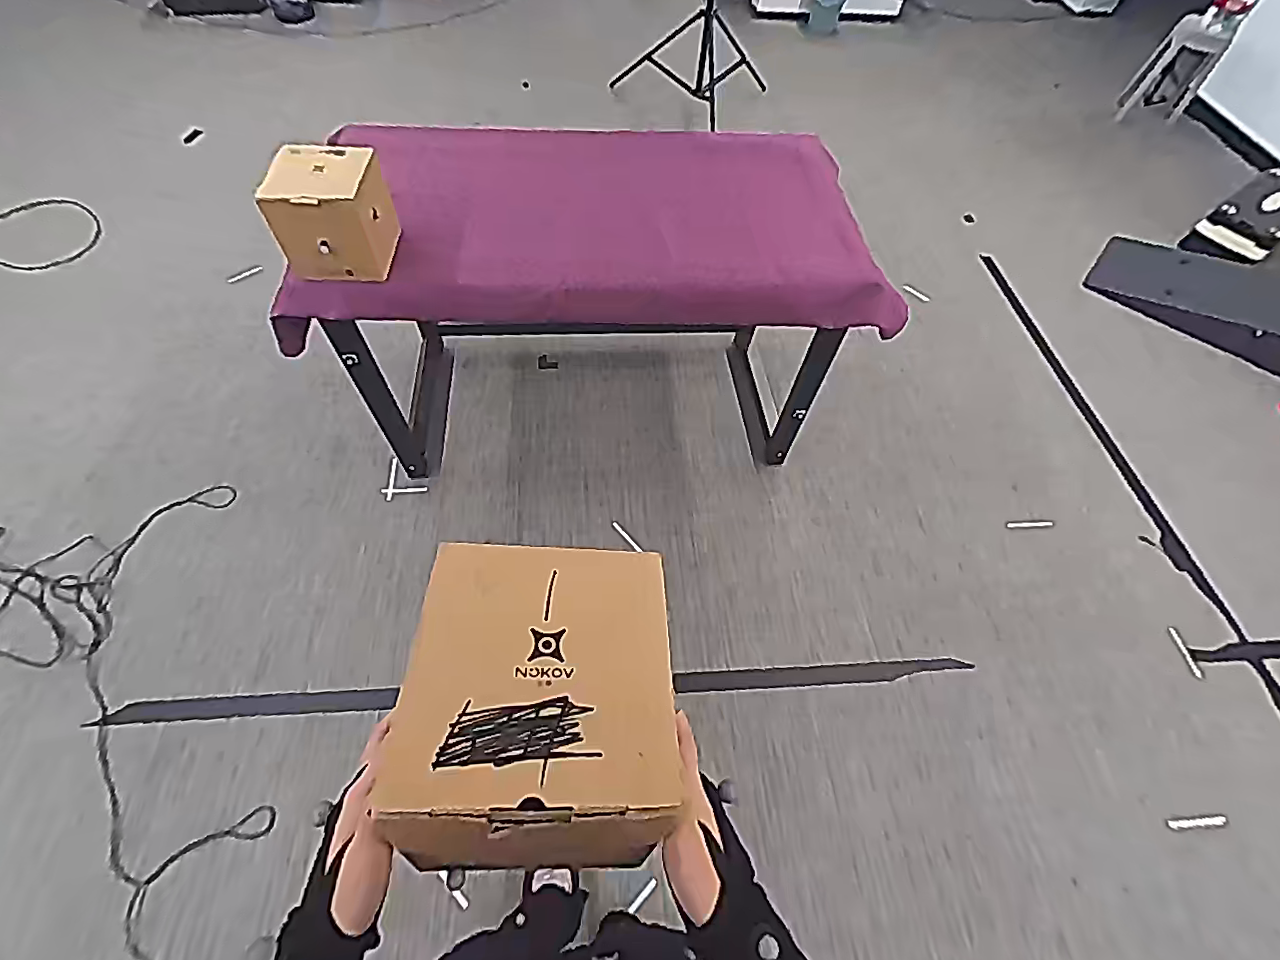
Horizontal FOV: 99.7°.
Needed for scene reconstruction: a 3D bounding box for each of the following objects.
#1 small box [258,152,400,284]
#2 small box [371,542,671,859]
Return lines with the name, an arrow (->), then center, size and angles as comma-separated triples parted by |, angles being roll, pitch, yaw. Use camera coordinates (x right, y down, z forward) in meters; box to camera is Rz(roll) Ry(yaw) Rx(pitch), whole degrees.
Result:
small box -> -0.578, -0.496, 1.035 | 0.168, 0.176, 0.179 | -1, 58, -5
small box -> -0.074, 0.169, 0.406 | 0.168, 0.176, 0.179 | 4, 45, -7
